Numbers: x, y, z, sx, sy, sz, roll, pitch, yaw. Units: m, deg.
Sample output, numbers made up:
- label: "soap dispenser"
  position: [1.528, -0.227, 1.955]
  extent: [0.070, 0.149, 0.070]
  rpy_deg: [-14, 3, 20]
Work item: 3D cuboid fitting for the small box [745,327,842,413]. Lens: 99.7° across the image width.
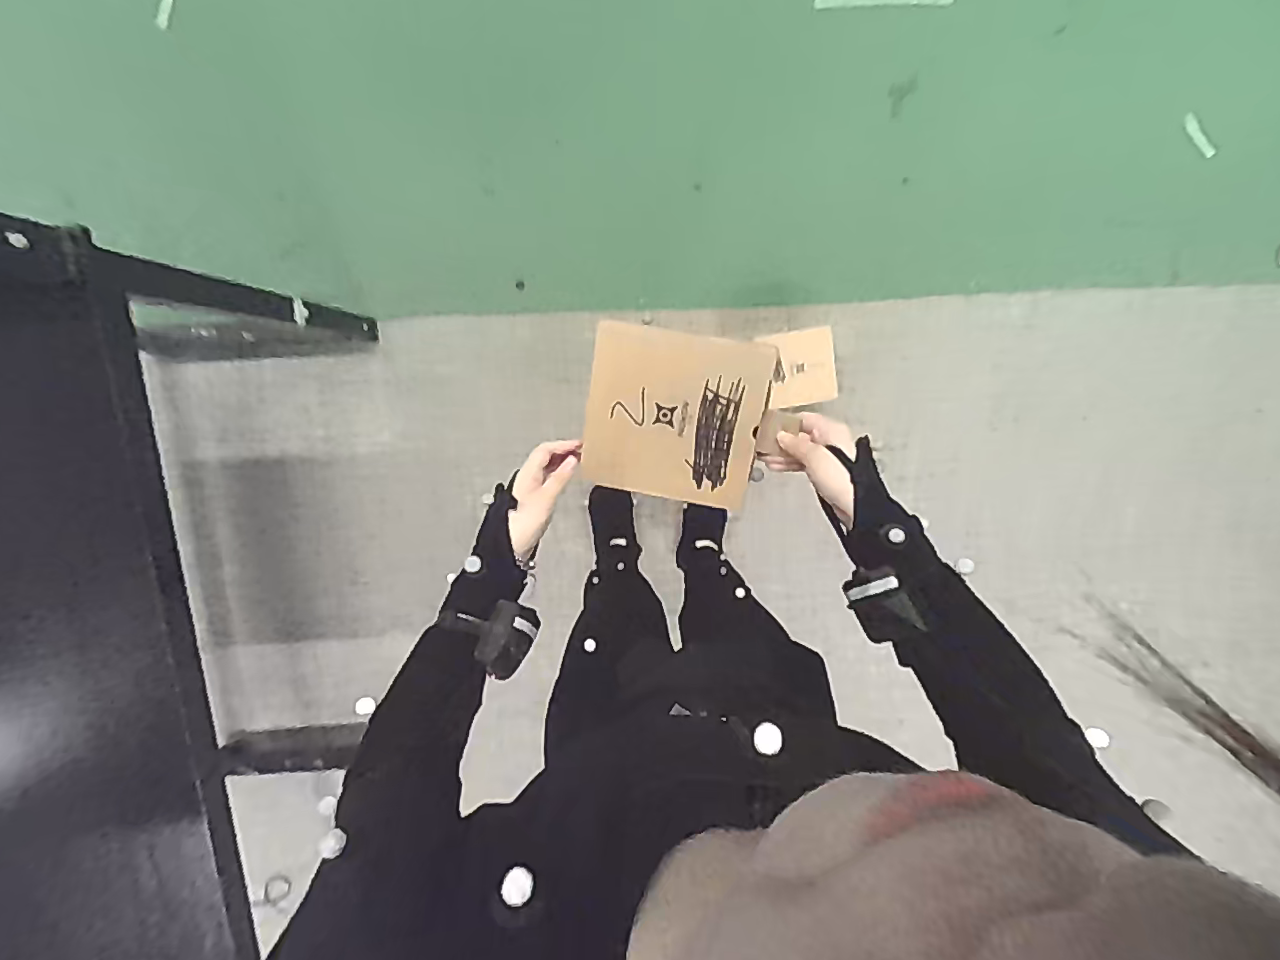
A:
- label: "small box"
  position: [0.351, -0.253, 1.266]
  extent: [0.179, 0.176, 0.168]
  rpy_deg: [-10, 100, 1]
